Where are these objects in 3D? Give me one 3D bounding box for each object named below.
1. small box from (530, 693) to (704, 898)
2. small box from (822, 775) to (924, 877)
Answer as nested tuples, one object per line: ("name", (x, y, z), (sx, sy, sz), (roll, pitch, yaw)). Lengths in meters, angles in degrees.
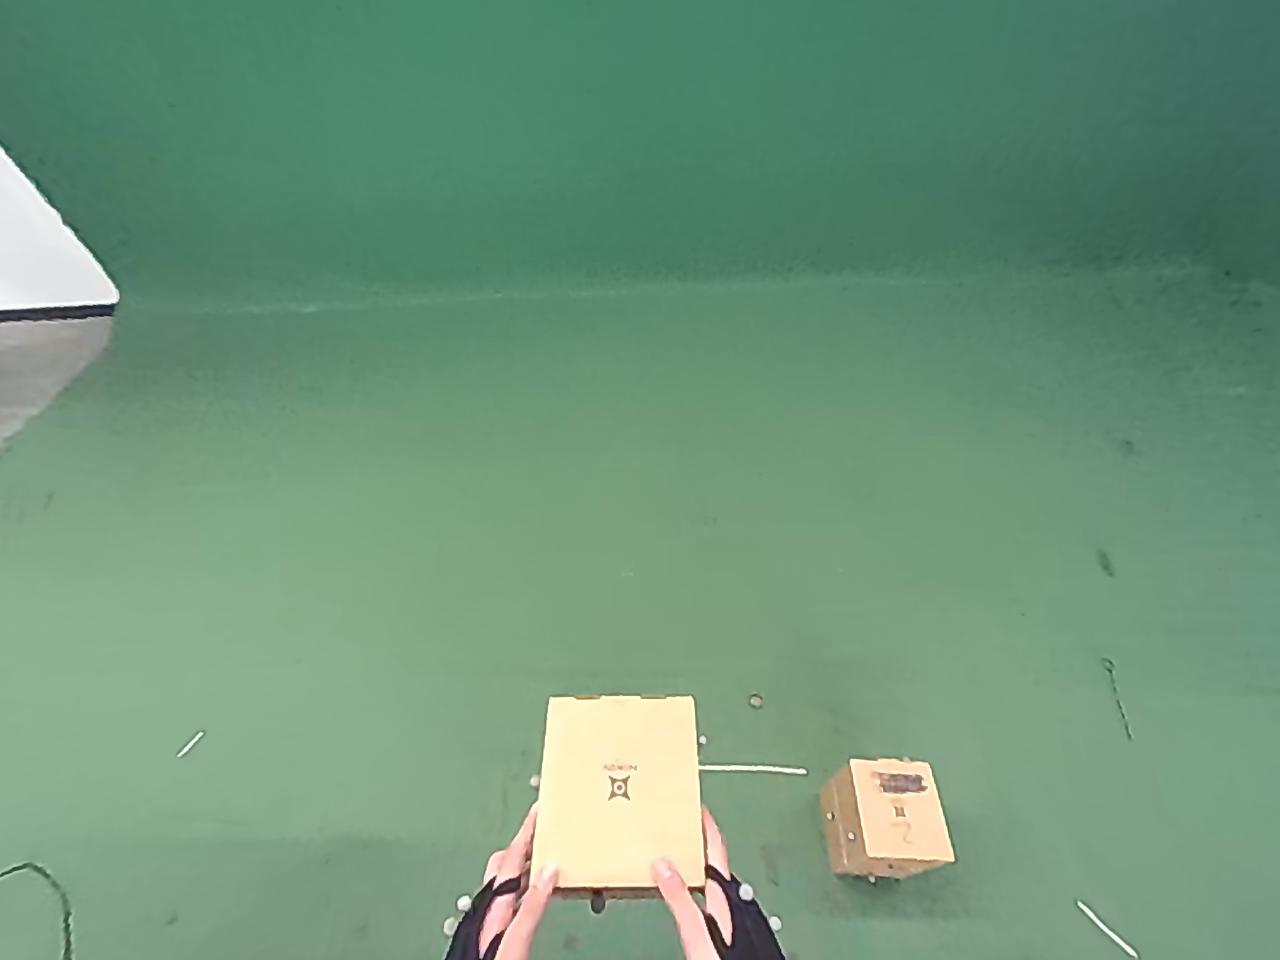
("small box", (-0.019, 0.358, 0.611), (0.168, 0.176, 0.179), (-1, 48, 0))
("small box", (0.536, 0.816, 1.274), (0.168, 0.176, 0.179), (1, 50, 6))
